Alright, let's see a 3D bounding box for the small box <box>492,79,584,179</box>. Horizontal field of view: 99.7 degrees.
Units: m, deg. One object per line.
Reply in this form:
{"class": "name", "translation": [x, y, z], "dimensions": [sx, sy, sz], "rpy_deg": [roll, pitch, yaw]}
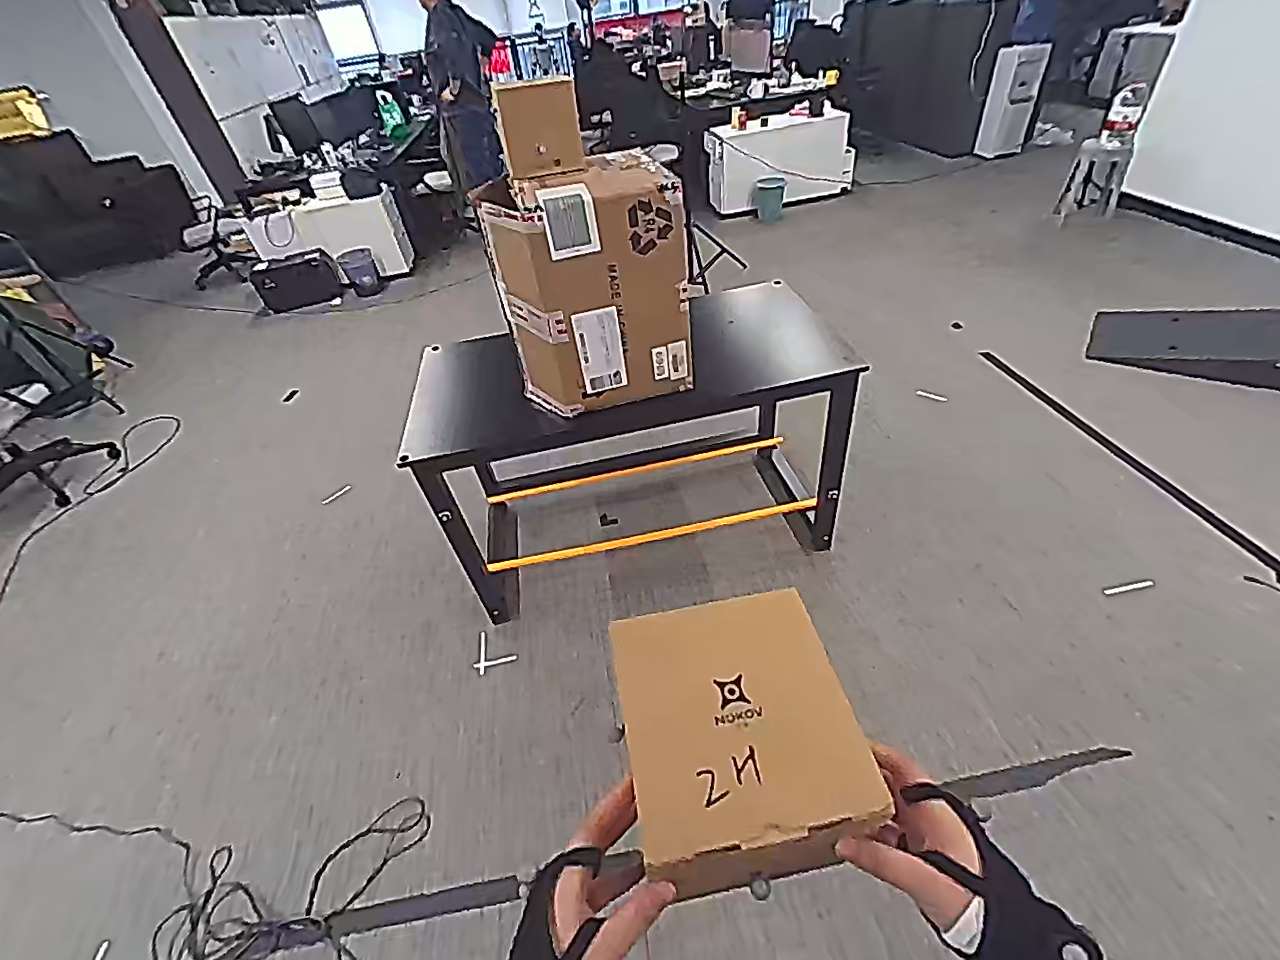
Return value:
{"class": "small box", "translation": [-0.230, -0.793, 1.223], "dimensions": [0.168, 0.176, 0.179], "rpy_deg": [-14, 40, -8]}

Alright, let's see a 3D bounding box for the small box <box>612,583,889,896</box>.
{"class": "small box", "translation": [0.073, 0.217, 0.458], "dimensions": [0.168, 0.176, 0.179], "rpy_deg": [-10, 45, -4]}
